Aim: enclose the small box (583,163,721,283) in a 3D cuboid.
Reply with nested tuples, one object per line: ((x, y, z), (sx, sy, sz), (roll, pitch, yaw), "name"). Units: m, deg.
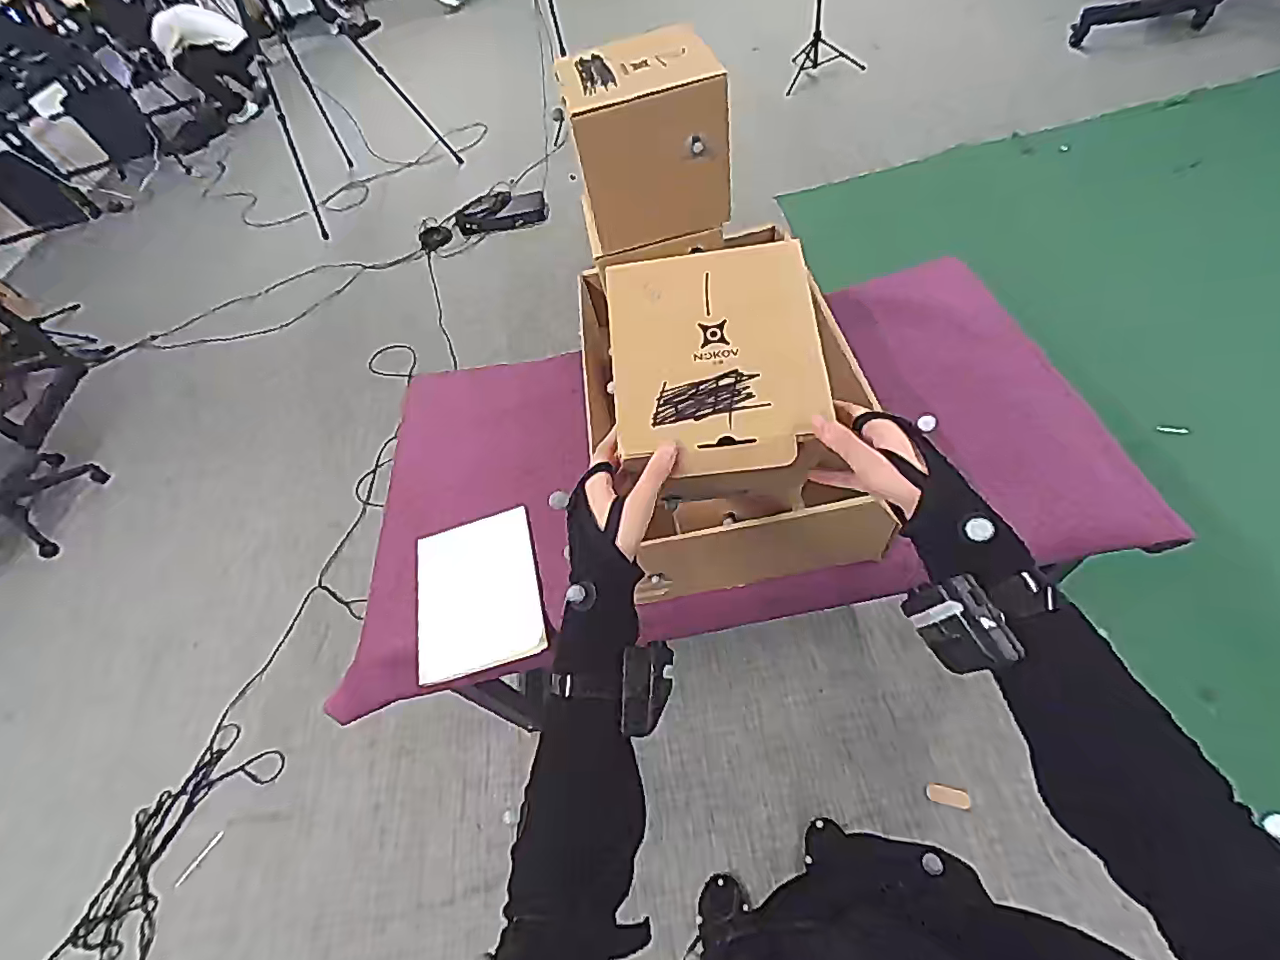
((0.026, -0.333, 0.813), (0.179, 0.176, 0.168), (-14, 55, 3), "small box")

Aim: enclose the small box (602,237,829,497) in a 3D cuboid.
((0.064, -0.087, 0.503), (0.168, 0.176, 0.179), (-6, 73, 5), "small box")
